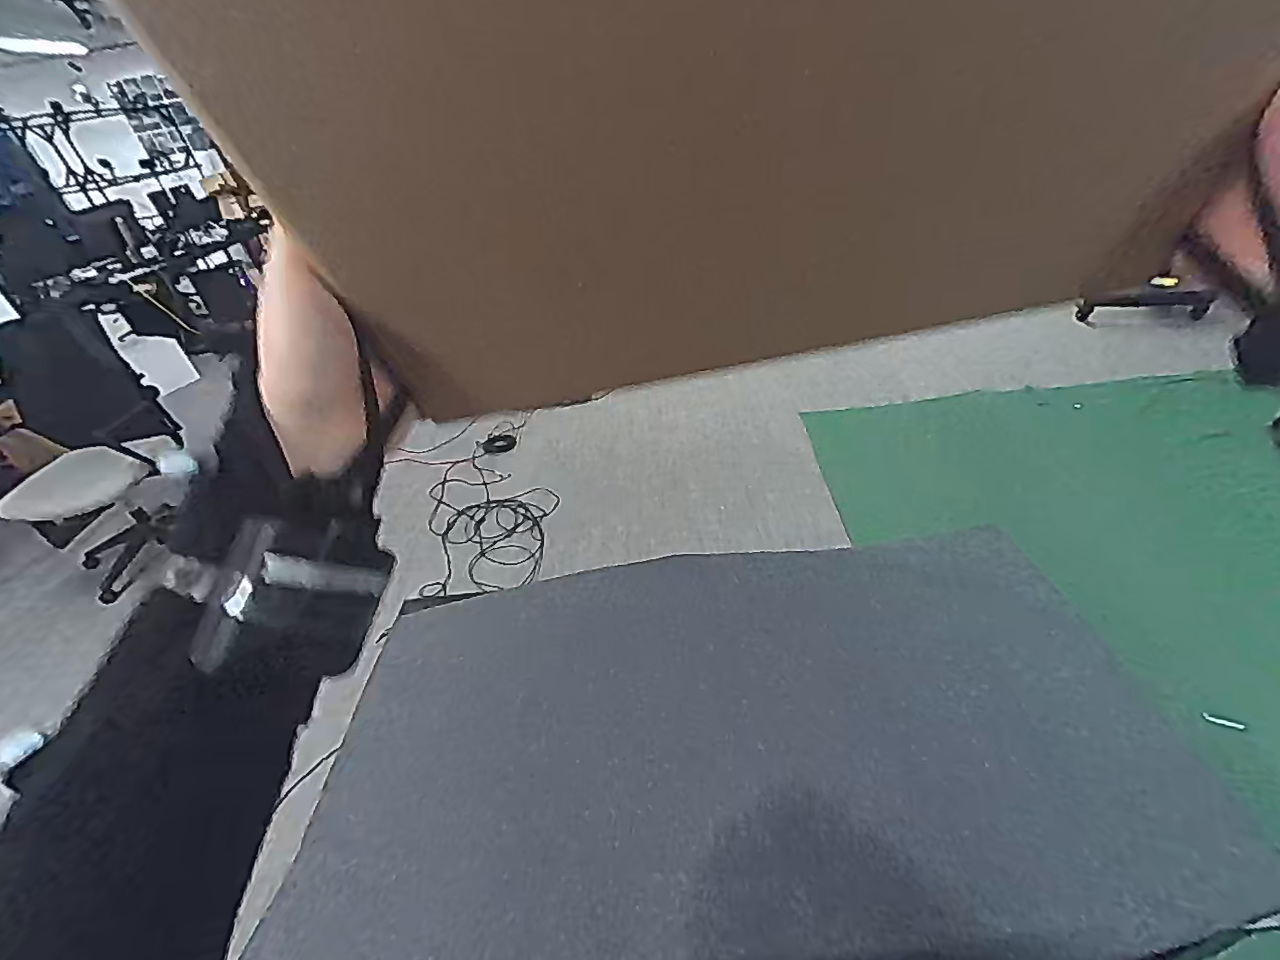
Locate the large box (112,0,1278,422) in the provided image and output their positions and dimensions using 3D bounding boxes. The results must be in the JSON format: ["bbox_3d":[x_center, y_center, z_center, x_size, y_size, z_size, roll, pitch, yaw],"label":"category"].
[{"bbox_3d":[0.023,-0.272,0.282,0.408,0.320,0.320,-10,55,6],"label":"large box"}]
